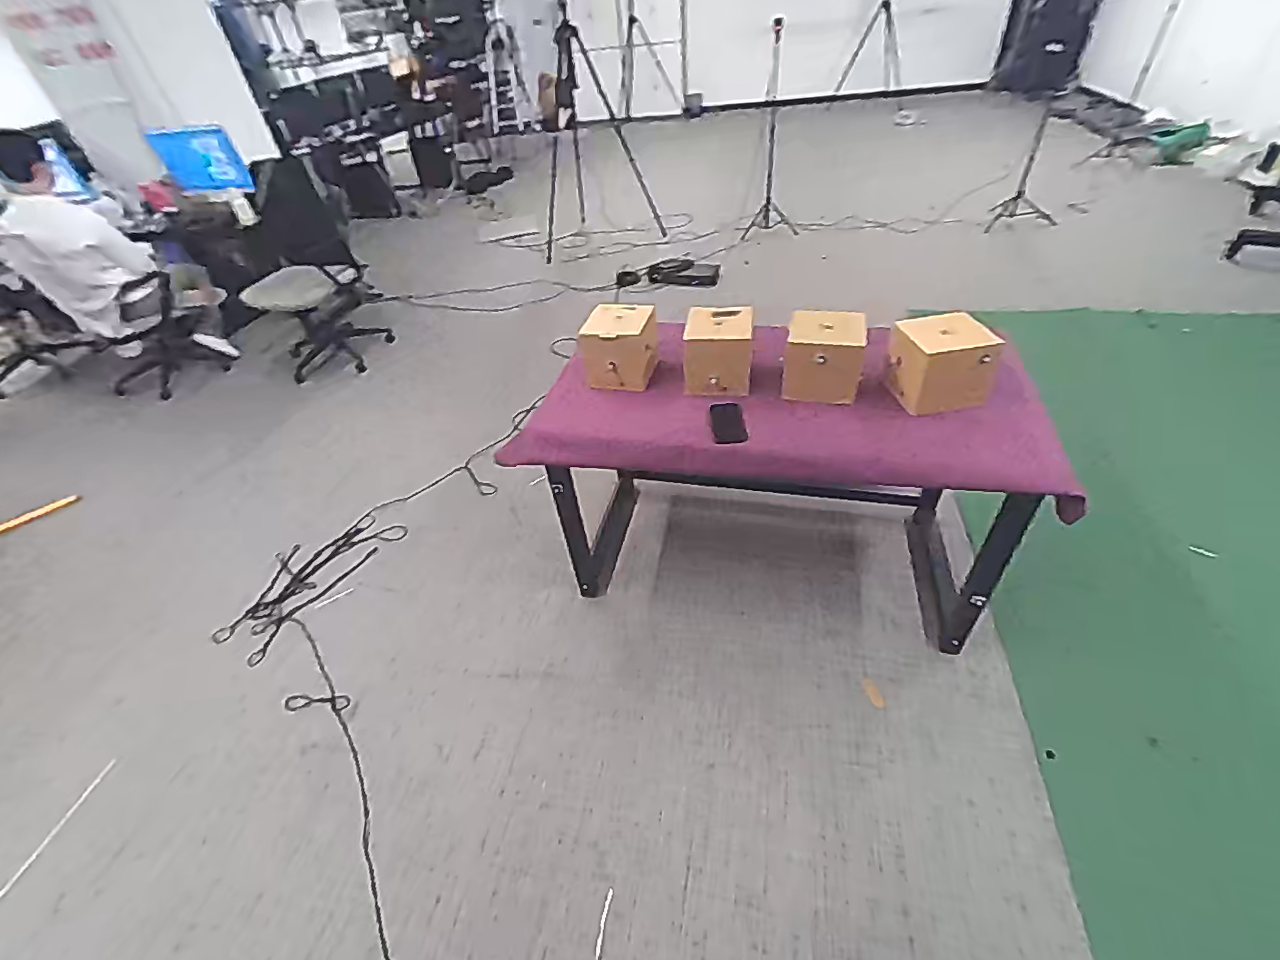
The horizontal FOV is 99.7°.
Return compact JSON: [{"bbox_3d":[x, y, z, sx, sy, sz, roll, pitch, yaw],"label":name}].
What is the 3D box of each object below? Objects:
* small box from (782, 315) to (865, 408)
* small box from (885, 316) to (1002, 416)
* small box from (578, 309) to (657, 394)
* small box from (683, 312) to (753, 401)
[{"bbox_3d":[0.454,-0.296,1.351,0.179,0.176,0.168,8,44,17],"label":"small box"},{"bbox_3d":[0.701,-0.267,1.280,0.179,0.176,0.168,-8,41,-2],"label":"small box"},{"bbox_3d":[-0.053,-0.352,1.488,0.168,0.176,0.179,6,44,15],"label":"small box"},{"bbox_3d":[0.206,-0.327,1.422,0.168,0.176,0.179,2,43,11],"label":"small box"}]
